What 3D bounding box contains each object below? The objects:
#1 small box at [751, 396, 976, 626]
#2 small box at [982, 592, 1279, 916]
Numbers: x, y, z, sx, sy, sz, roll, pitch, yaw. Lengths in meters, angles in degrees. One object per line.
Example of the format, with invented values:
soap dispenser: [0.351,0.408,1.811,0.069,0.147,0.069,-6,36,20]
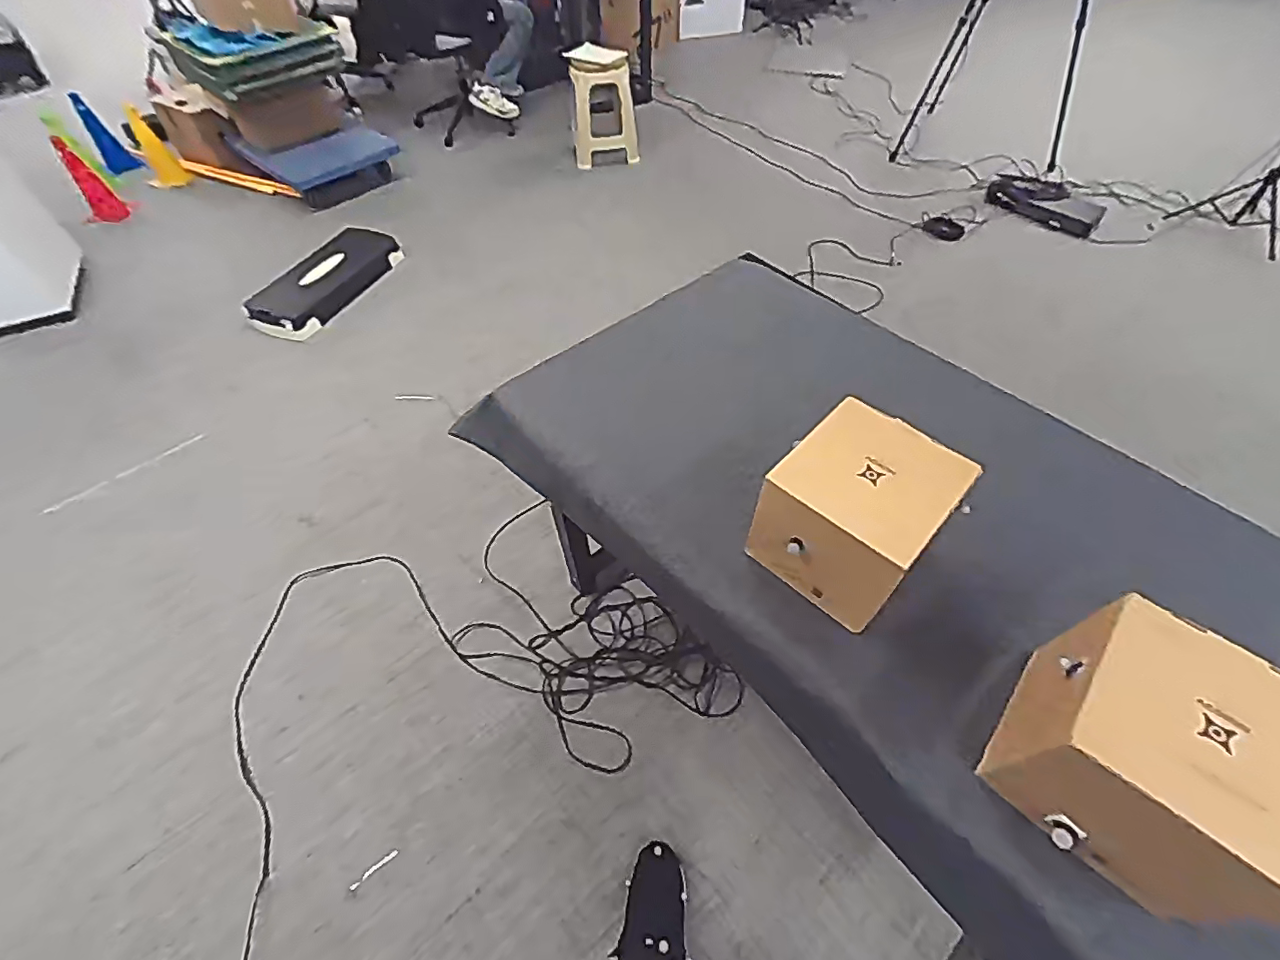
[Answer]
small box: [0.249,0.040,0.645,0.168,0.176,0.179,37,61,25]
small box: [0.451,0.243,0.489,0.168,0.176,0.179,35,61,25]
